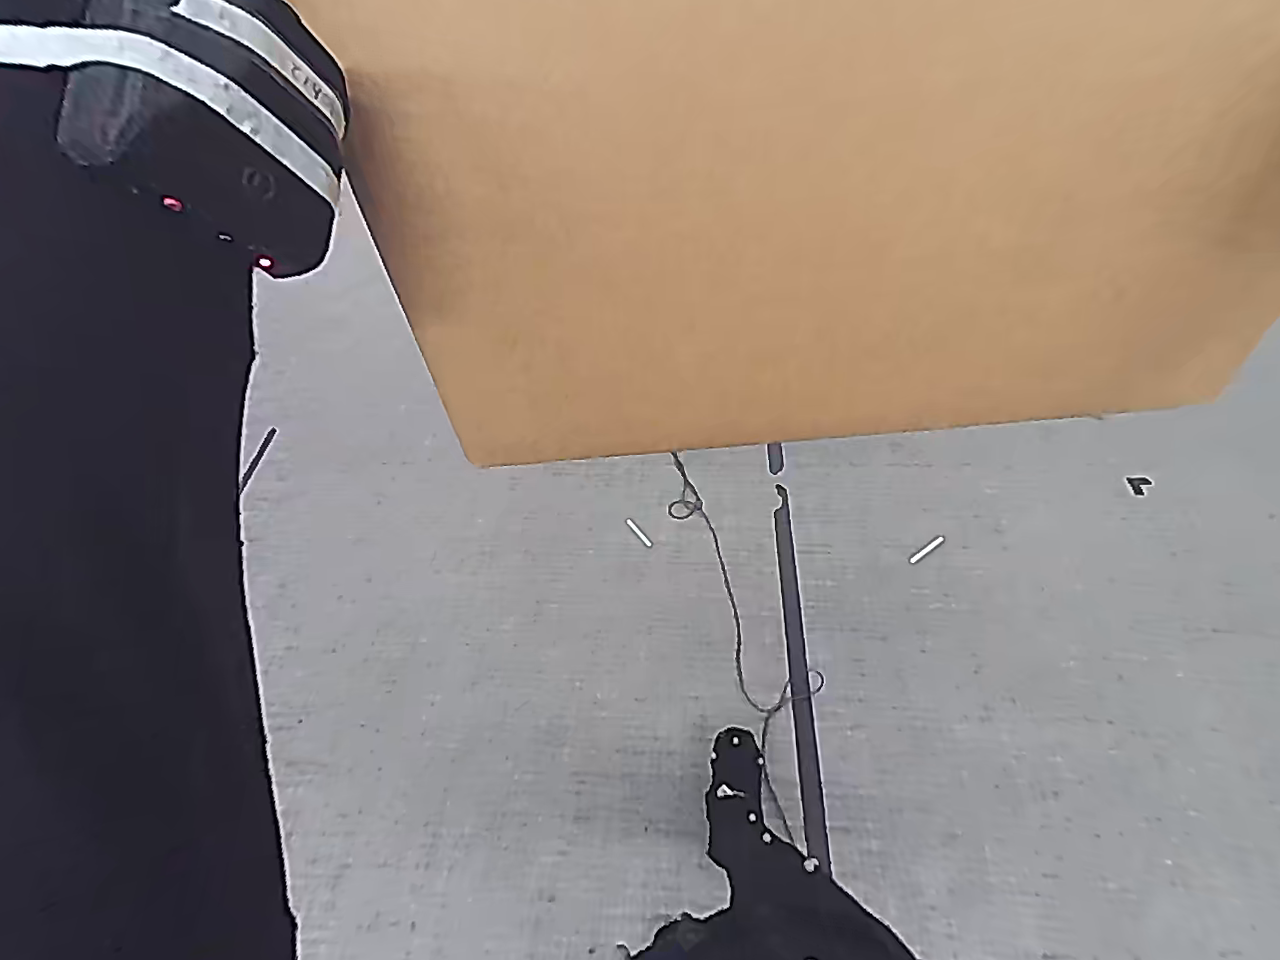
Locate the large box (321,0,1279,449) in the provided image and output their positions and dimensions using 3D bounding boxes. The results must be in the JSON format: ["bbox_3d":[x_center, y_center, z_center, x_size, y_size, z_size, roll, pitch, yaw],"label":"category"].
[{"bbox_3d":[0.083,-0.242,0.320,0.408,0.320,0.320,-5,43,2],"label":"large box"}]
